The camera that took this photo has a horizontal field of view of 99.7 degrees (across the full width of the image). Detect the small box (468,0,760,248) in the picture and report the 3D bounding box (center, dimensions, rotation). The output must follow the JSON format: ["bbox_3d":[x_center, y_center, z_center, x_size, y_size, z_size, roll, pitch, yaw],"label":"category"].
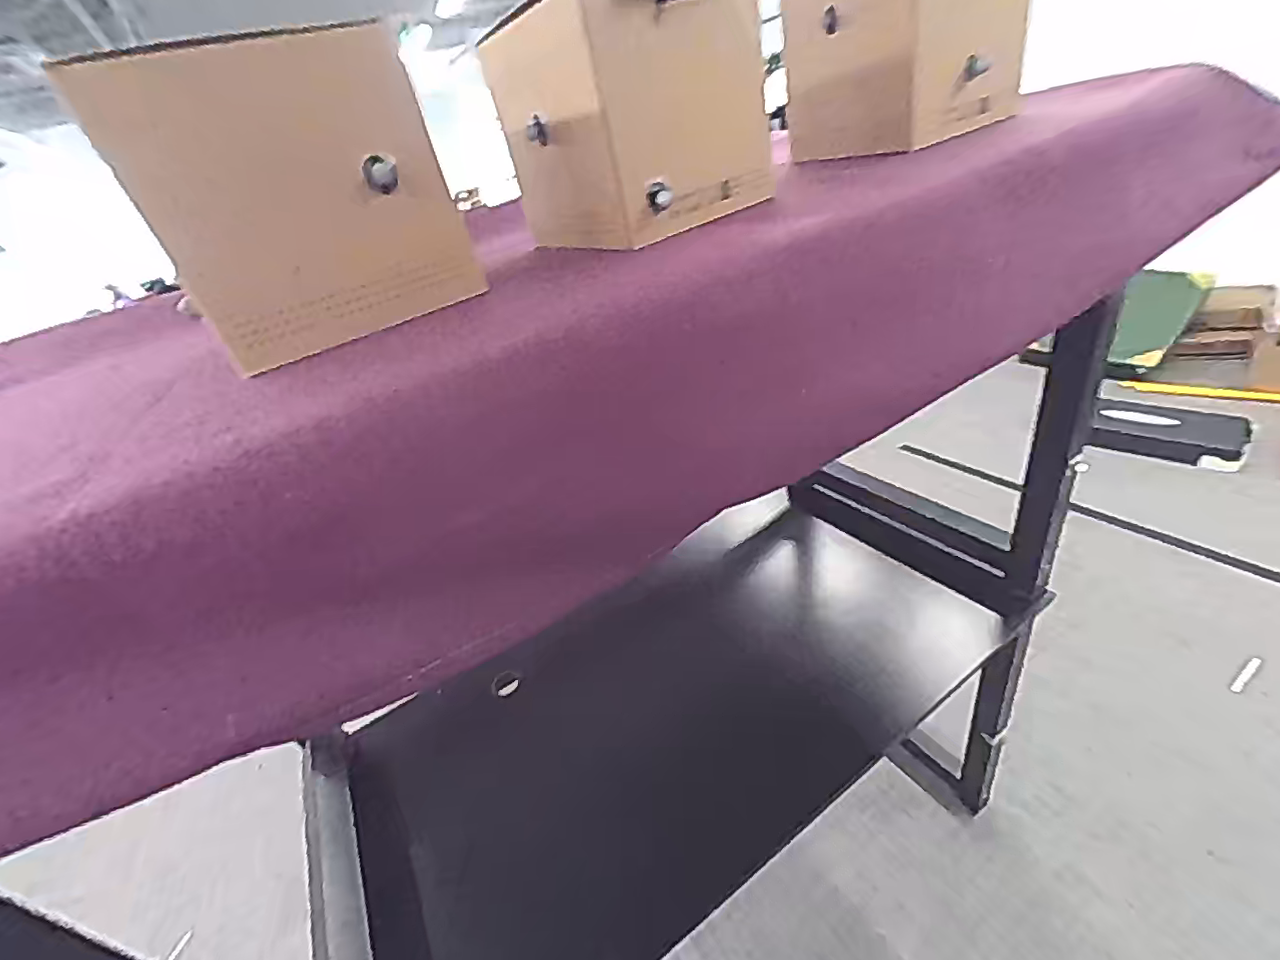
[{"bbox_3d":[-0.015,-0.310,0.470,0.168,0.176,0.179,-31,35,-25],"label":"small box"}]

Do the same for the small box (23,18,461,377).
[{"bbox_3d":[-0.250,-0.195,0.389,0.179,0.176,0.168,-31,35,-23],"label":"small box"}]

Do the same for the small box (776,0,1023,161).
[{"bbox_3d":[0.266,-0.452,0.572,0.168,0.176,0.179,-27,34,-17],"label":"small box"}]
